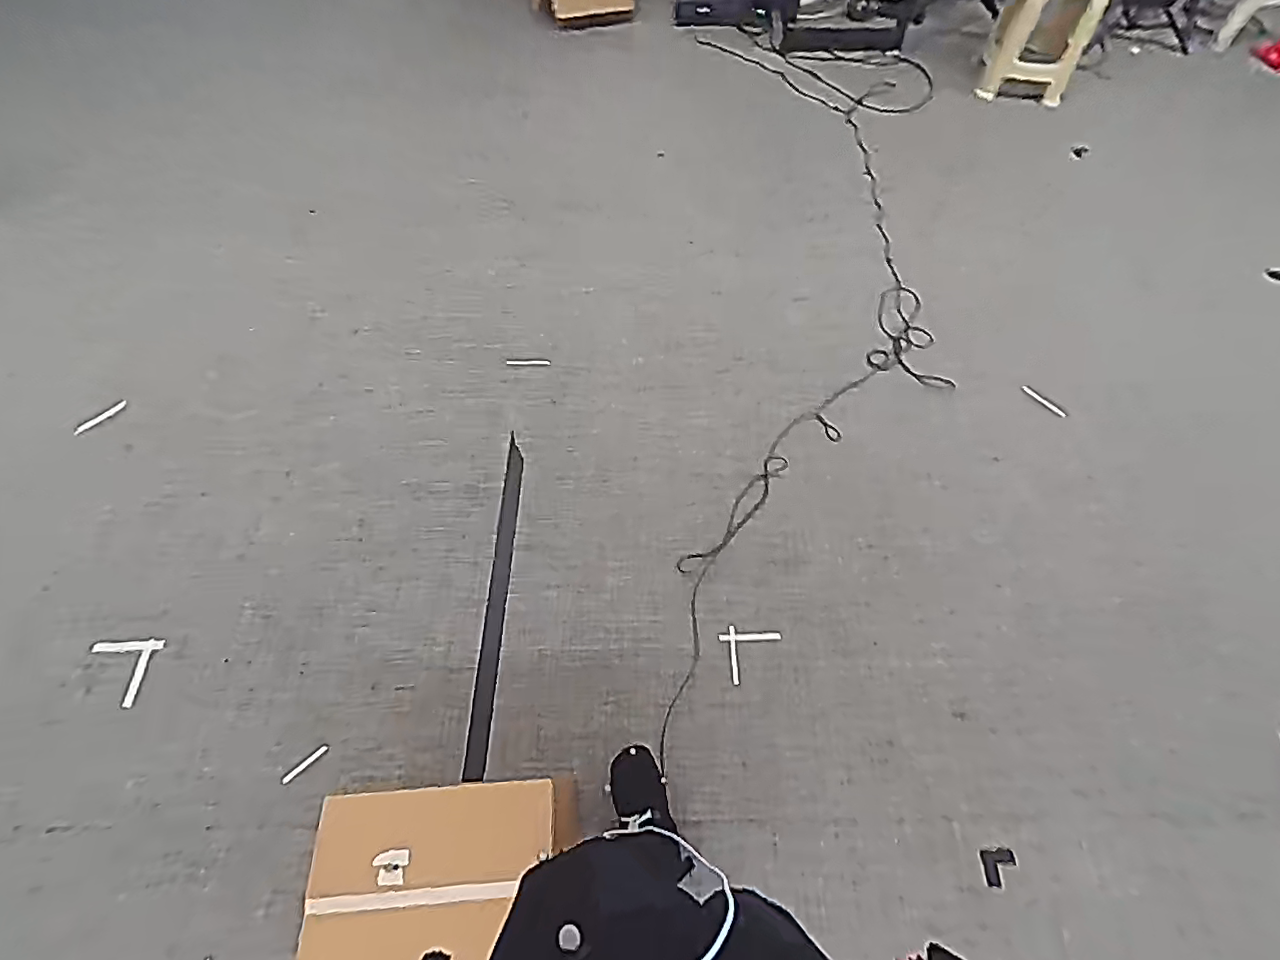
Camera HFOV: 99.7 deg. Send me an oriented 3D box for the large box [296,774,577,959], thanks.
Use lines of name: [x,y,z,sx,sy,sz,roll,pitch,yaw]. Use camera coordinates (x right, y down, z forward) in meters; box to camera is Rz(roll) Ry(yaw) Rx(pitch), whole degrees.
large box: [-0.338,0.744,1.012,0.408,0.320,0.320,-4,61,0]
